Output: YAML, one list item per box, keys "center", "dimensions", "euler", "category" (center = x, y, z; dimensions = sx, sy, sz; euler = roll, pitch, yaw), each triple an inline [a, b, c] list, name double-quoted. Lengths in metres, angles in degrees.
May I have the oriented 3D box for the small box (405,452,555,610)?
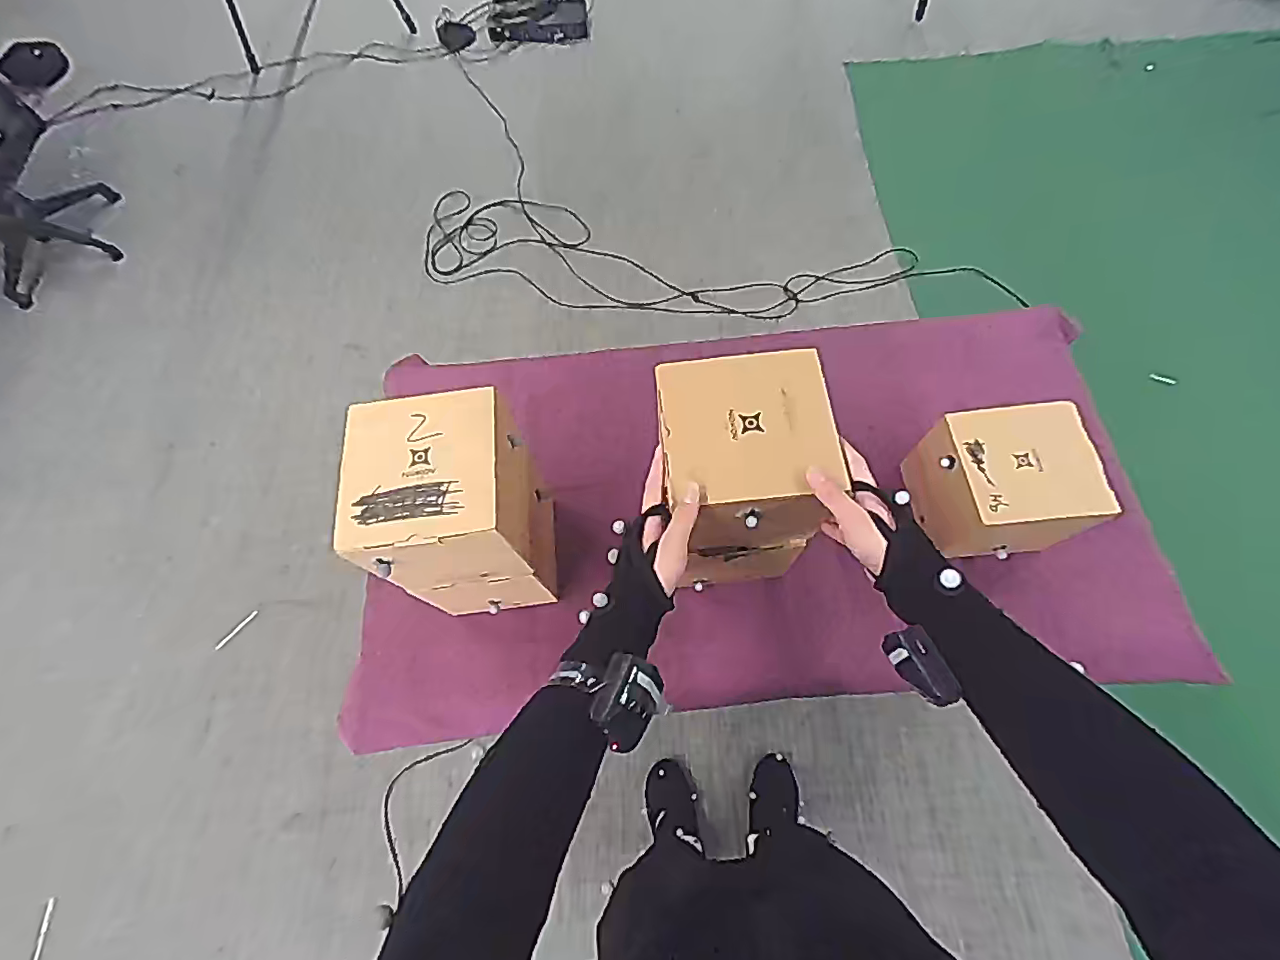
- center: [-0.223, 0.080, 0.793]
  dimensions: [0.168, 0.176, 0.179]
  euler: [-7, 67, 1]
  category: "small box"

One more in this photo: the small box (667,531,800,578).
- center: [0.122, 0.040, 0.791]
  dimensions: [0.168, 0.176, 0.179]
  euler: [-6, 66, 1]
  category: "small box"

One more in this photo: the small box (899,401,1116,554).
- center: [0.511, 0.003, 0.782]
  dimensions: [0.179, 0.176, 0.168]
  euler: [-5, 66, 1]
  category: "small box"

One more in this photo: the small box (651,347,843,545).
- center: [0.110, -0.029, 0.623]
  dimensions: [0.179, 0.176, 0.168]
  euler: [-5, 68, 2]
  category: "small box"
